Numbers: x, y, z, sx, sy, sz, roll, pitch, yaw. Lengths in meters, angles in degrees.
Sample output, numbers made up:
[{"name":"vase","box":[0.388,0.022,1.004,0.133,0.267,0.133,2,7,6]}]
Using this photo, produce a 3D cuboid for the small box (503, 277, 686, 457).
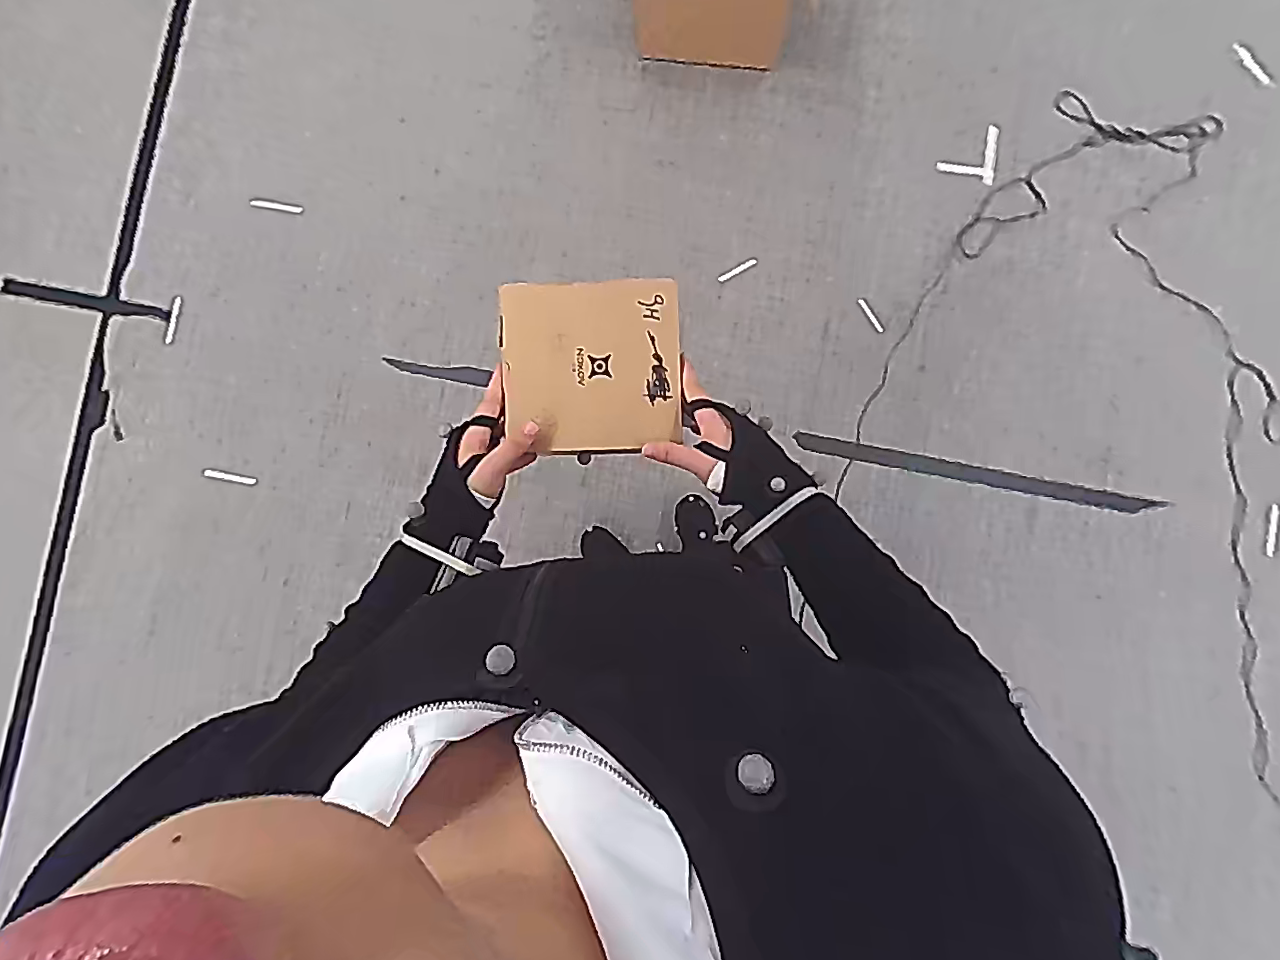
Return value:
[{"name":"small box","box":[-0.042,-0.111,0.594,0.179,0.176,0.168,-1,91,0]}]
